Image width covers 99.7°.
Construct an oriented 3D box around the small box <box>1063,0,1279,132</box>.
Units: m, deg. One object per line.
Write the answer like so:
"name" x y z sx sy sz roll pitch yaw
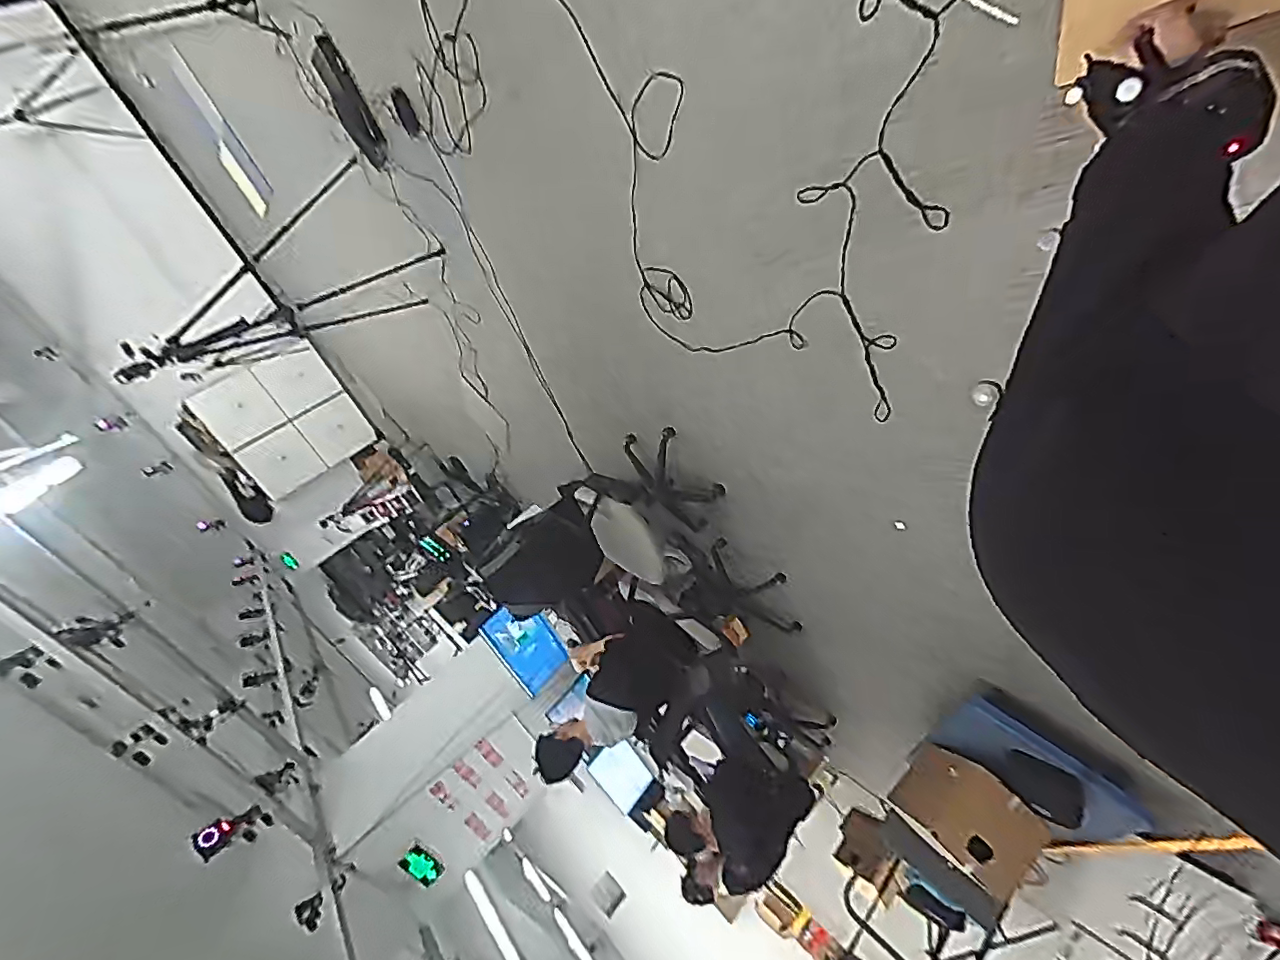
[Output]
"small box" 0.516 -0.461 0.497 0.168 0.179 0.176 11 109 48
